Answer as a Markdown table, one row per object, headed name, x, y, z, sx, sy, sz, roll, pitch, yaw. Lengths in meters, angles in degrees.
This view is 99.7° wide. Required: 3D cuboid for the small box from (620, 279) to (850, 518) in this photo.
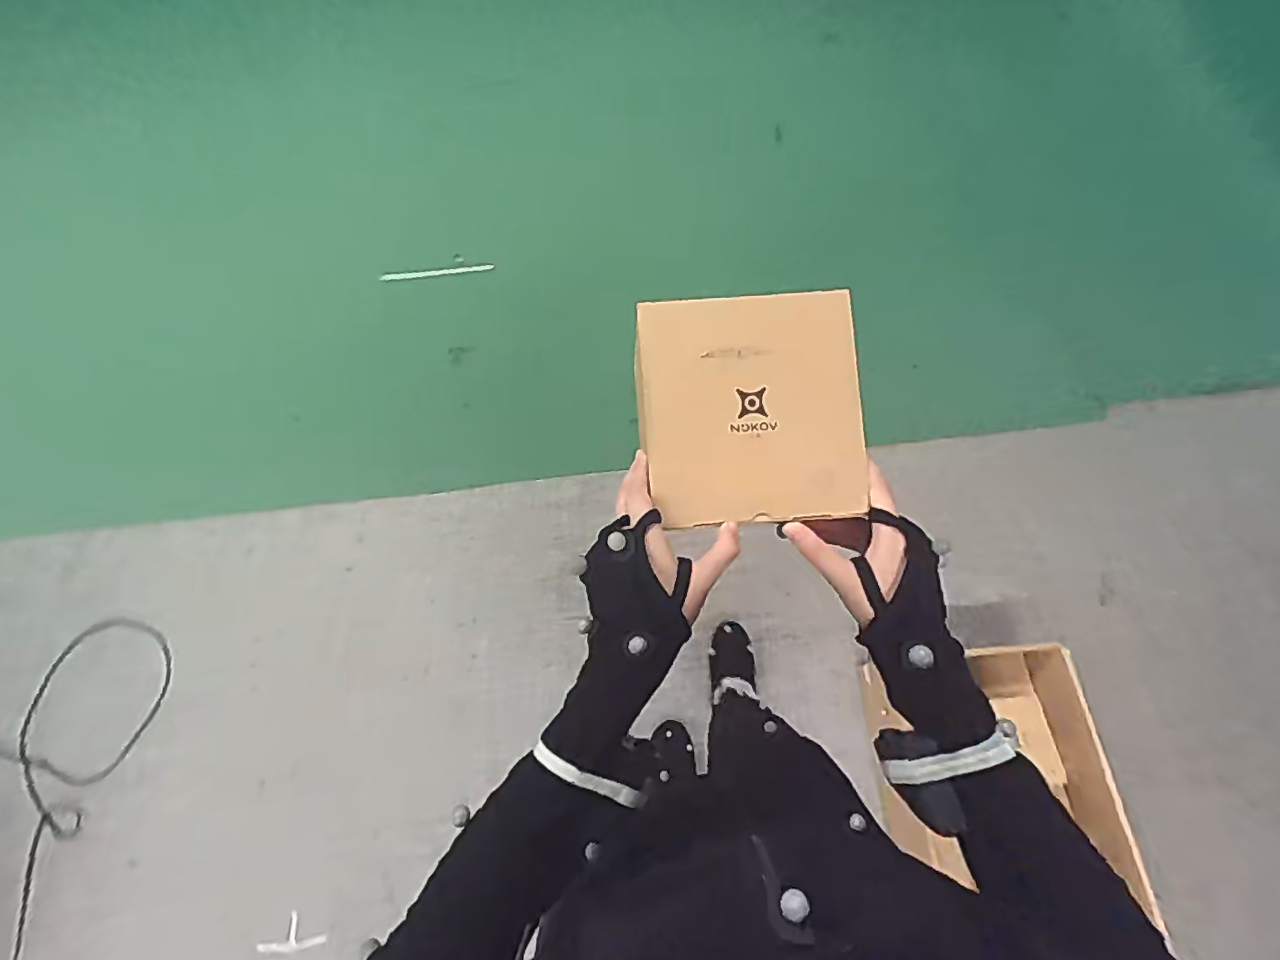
| name | x | y | z | sx | sy | sz | roll | pitch | yaw |
| --- | --- | --- | --- | --- | --- | --- | --- | --- | --- |
| small box | 0.072 | -0.059 | 0.493 | 0.168 | 0.176 | 0.179 | -5 | 85 | -1 |
